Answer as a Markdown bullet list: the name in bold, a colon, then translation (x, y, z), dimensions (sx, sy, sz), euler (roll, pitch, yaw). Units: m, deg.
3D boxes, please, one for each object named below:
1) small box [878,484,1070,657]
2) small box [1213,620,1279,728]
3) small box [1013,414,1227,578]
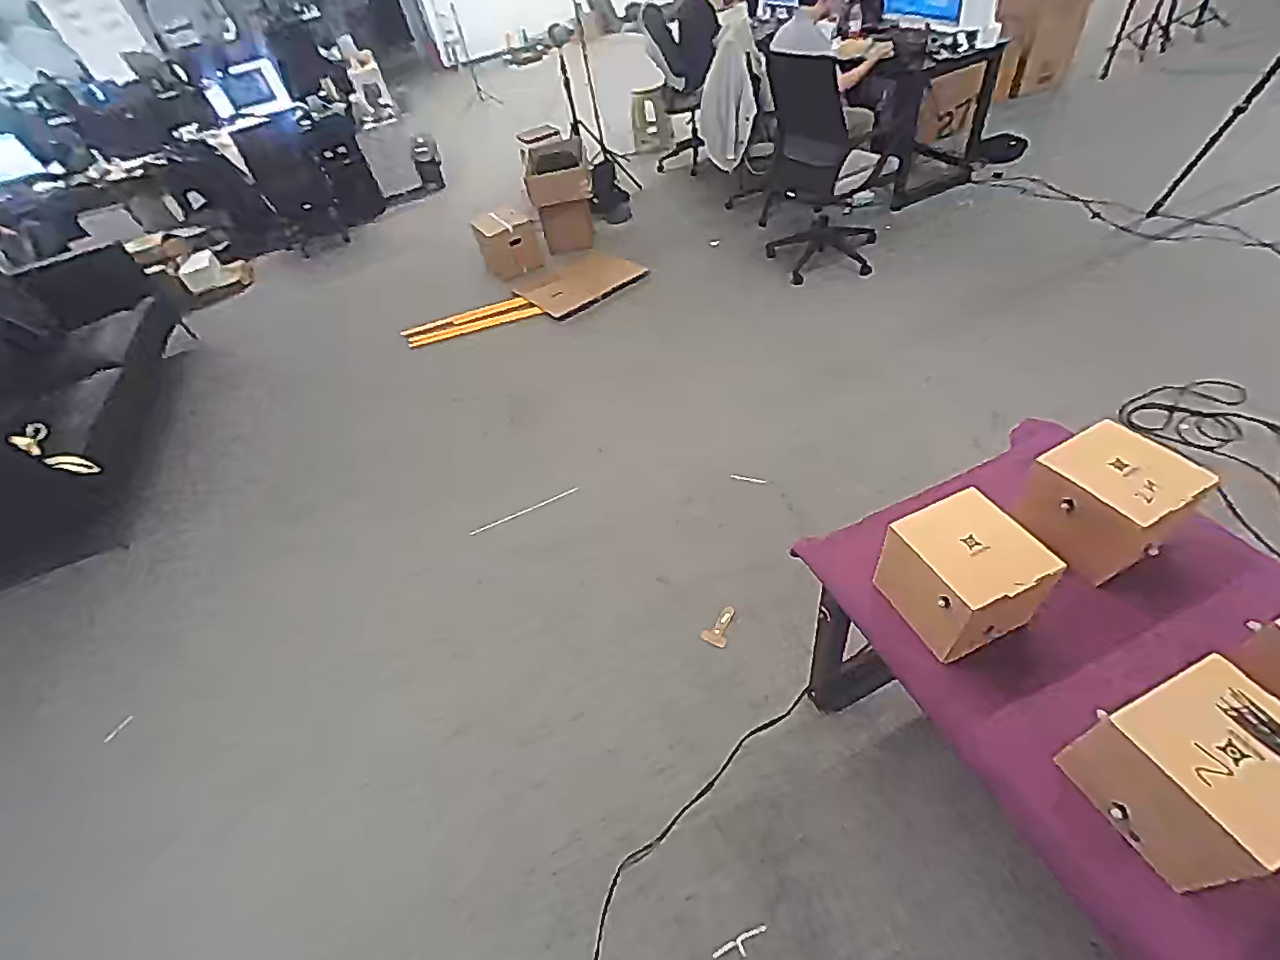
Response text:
- **small box**: translation (0.506, 0.143, 0.854), dimensions (0.168, 0.176, 0.179), euler (-22, 48, -9)
- **small box**: translation (0.901, 0.243, 0.669), dimensions (0.168, 0.176, 0.179), euler (-25, 47, -9)
- **small box**: translation (0.769, 0.028, 0.894), dimensions (0.168, 0.176, 0.179), euler (-26, 48, -10)
